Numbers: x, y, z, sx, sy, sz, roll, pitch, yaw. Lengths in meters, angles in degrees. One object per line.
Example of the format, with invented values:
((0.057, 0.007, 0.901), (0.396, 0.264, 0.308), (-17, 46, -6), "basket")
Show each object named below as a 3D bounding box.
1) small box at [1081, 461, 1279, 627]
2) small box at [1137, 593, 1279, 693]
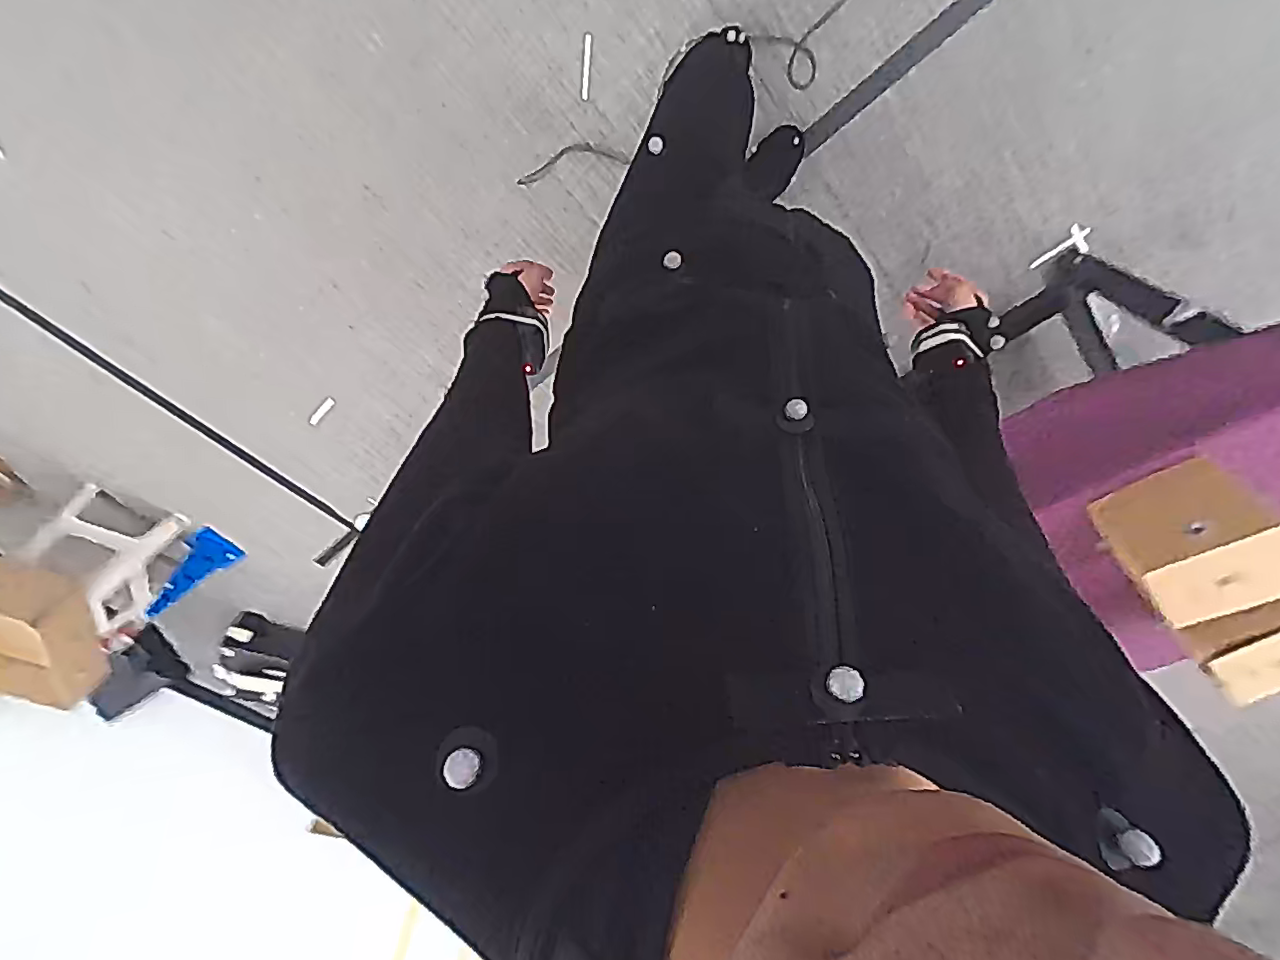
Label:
((0.877, 0.100, 0.874), (0.179, 0.176, 0.168), (-35, 117, 28), "small box")
((1.050, 0.242, 0.965), (0.179, 0.176, 0.168), (-37, 115, 29), "small box")
